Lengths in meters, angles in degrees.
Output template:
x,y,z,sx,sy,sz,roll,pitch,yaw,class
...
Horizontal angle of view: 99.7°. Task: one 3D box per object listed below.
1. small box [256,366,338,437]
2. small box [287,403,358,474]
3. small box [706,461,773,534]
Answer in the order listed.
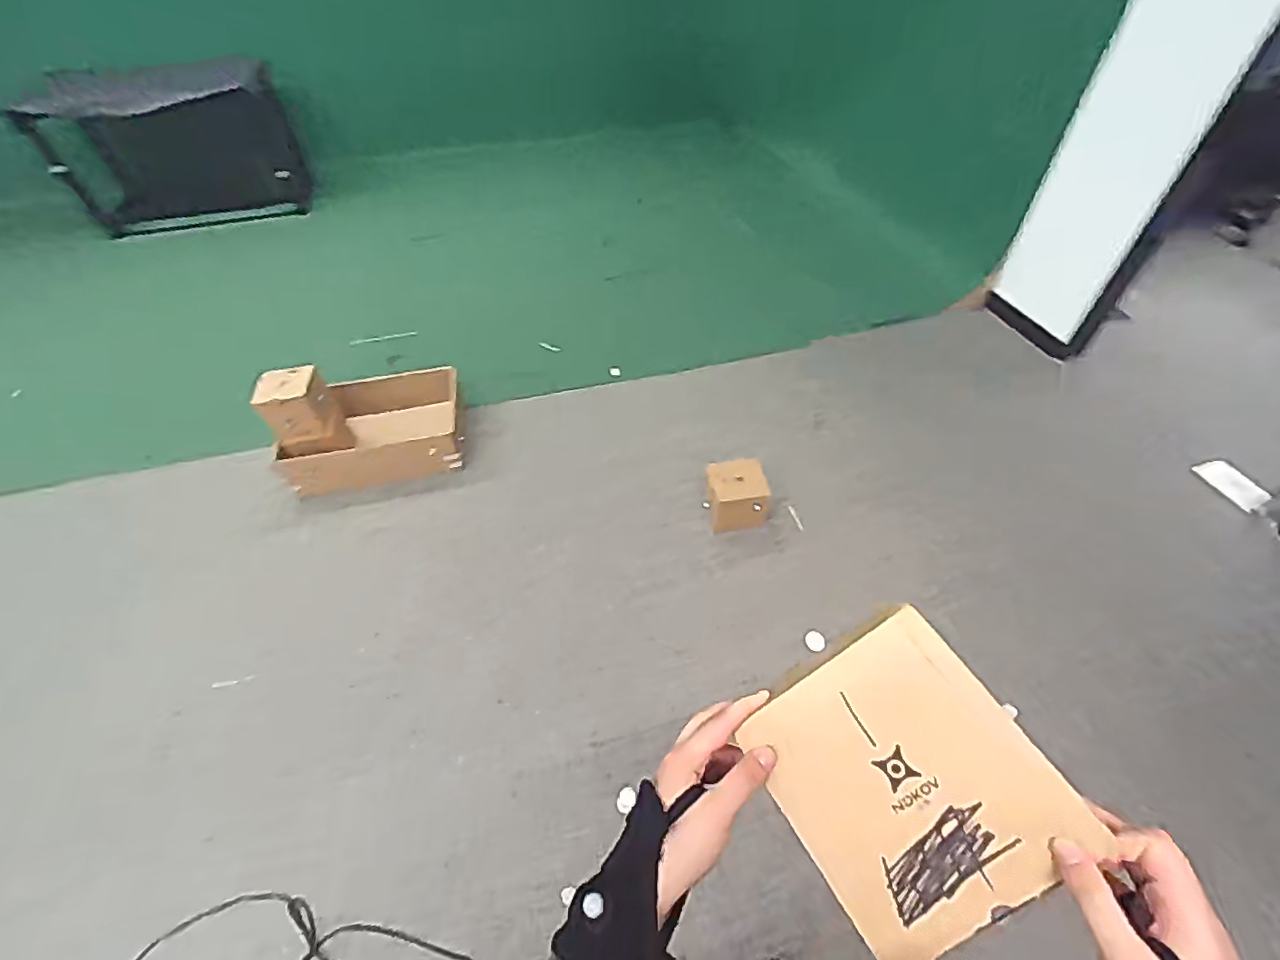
x,y,z,sx,sy,sz,roll,pitch,yaw,class
-1.170,-0.264,1.858,0.168,0.176,0.179,-9,50,-5,small box
-1.152,-0.151,1.976,0.168,0.176,0.179,-13,51,-8,small box
0.323,0.062,1.794,0.179,0.176,0.168,-8,49,-4,small box
